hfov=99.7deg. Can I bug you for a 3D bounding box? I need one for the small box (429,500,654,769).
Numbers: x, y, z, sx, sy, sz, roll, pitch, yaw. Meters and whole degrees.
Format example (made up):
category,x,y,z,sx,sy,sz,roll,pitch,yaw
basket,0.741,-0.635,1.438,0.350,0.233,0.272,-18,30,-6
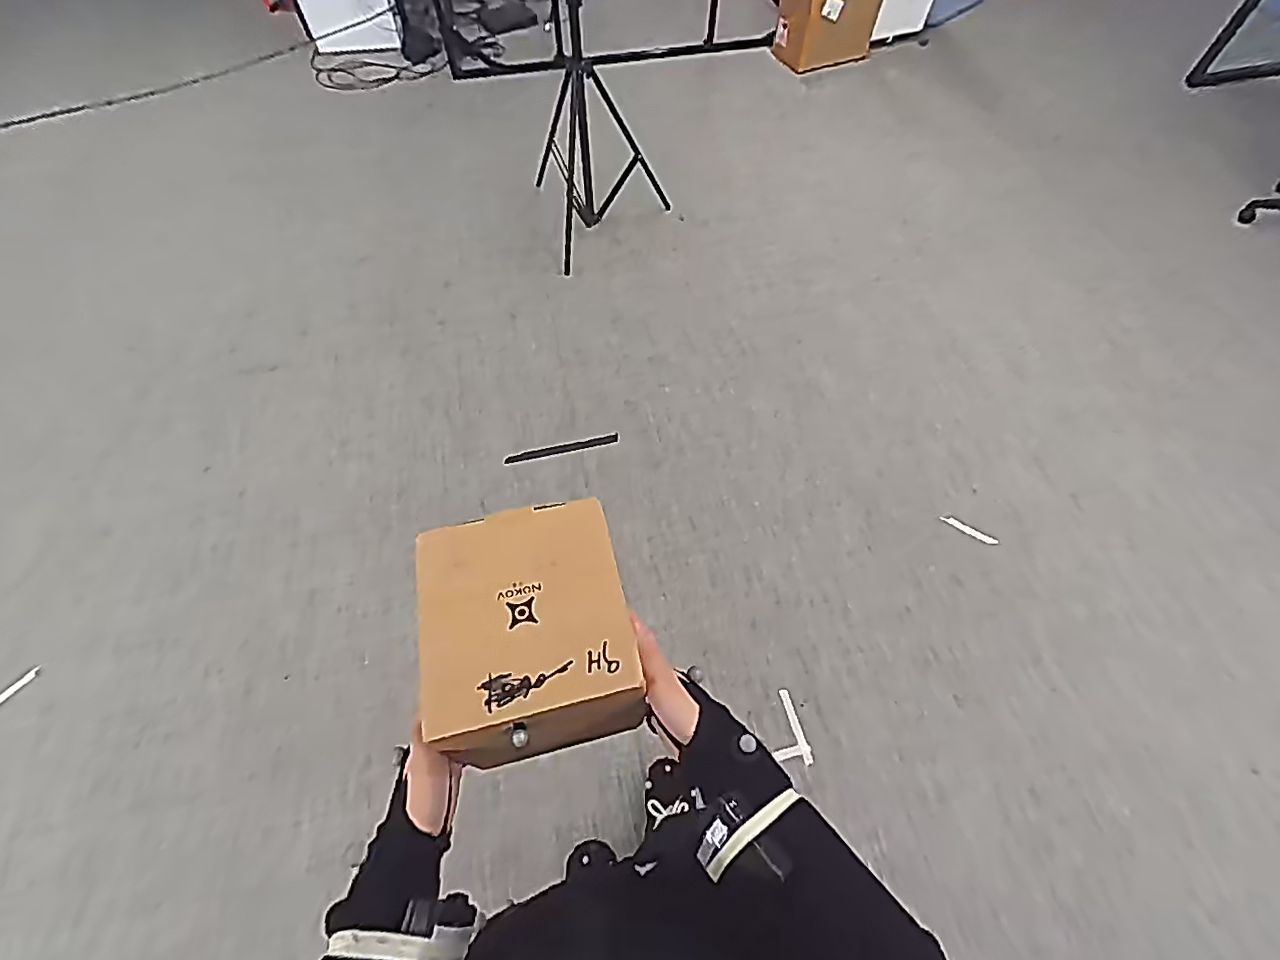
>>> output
category,x,y,z,sx,sy,sz,roll,pitch,yaw
small box,-0.089,0.146,0.504,0.168,0.176,0.179,-11,56,-9
